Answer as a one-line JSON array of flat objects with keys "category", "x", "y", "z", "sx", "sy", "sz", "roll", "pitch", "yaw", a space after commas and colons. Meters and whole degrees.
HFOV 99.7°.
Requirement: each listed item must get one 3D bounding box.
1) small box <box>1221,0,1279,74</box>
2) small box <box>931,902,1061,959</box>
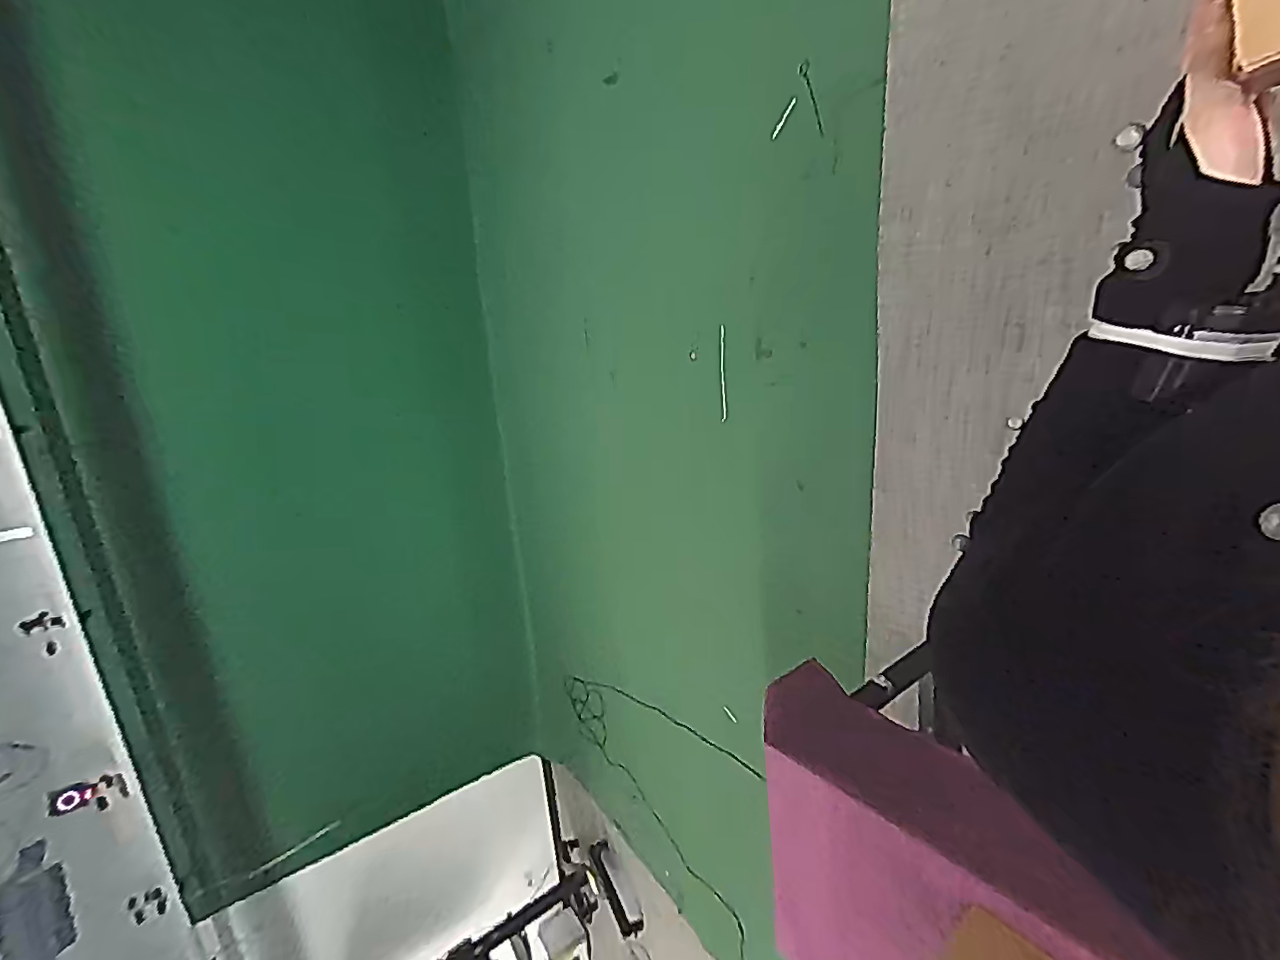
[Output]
[{"category": "small box", "x": 0.365, "y": -0.308, "z": 0.227, "sx": 0.168, "sy": 0.176, "sz": 0.179, "roll": -2, "pitch": 109, "yaw": 47}, {"category": "small box", "x": 0.540, "y": 0.792, "z": 0.799, "sx": 0.179, "sy": 0.176, "sz": 0.168, "roll": 14, "pitch": 113, "yaw": 53}]
